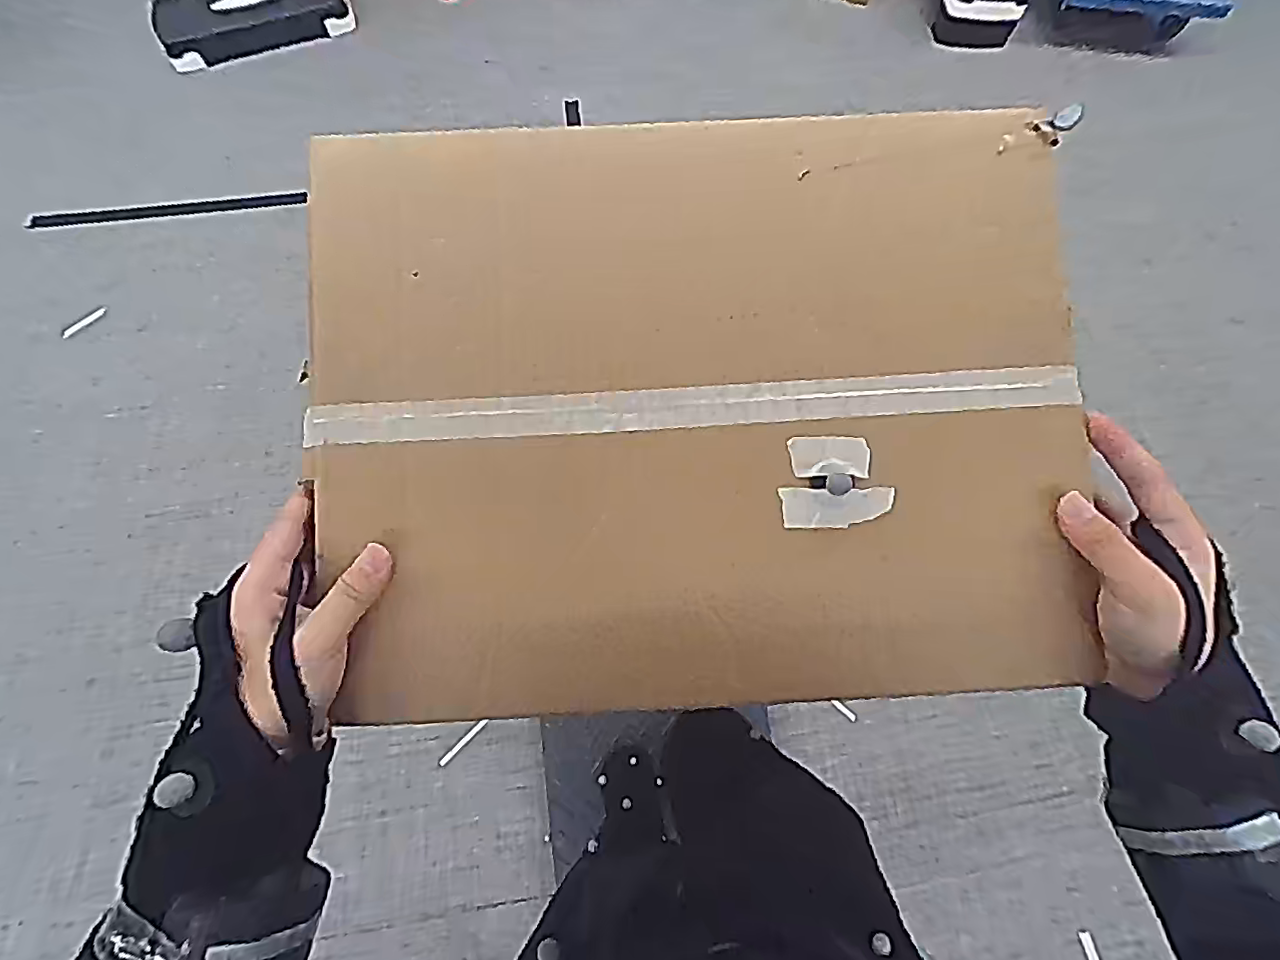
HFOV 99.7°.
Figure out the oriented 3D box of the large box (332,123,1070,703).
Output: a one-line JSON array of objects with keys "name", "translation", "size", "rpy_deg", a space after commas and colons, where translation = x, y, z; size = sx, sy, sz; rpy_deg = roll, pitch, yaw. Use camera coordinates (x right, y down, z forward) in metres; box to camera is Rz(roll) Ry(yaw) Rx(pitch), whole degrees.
[{"name": "large box", "translation": [0.027, -0.035, 0.451], "size": [0.408, 0.320, 0.320], "rpy_deg": [-3, 87, -1]}]
